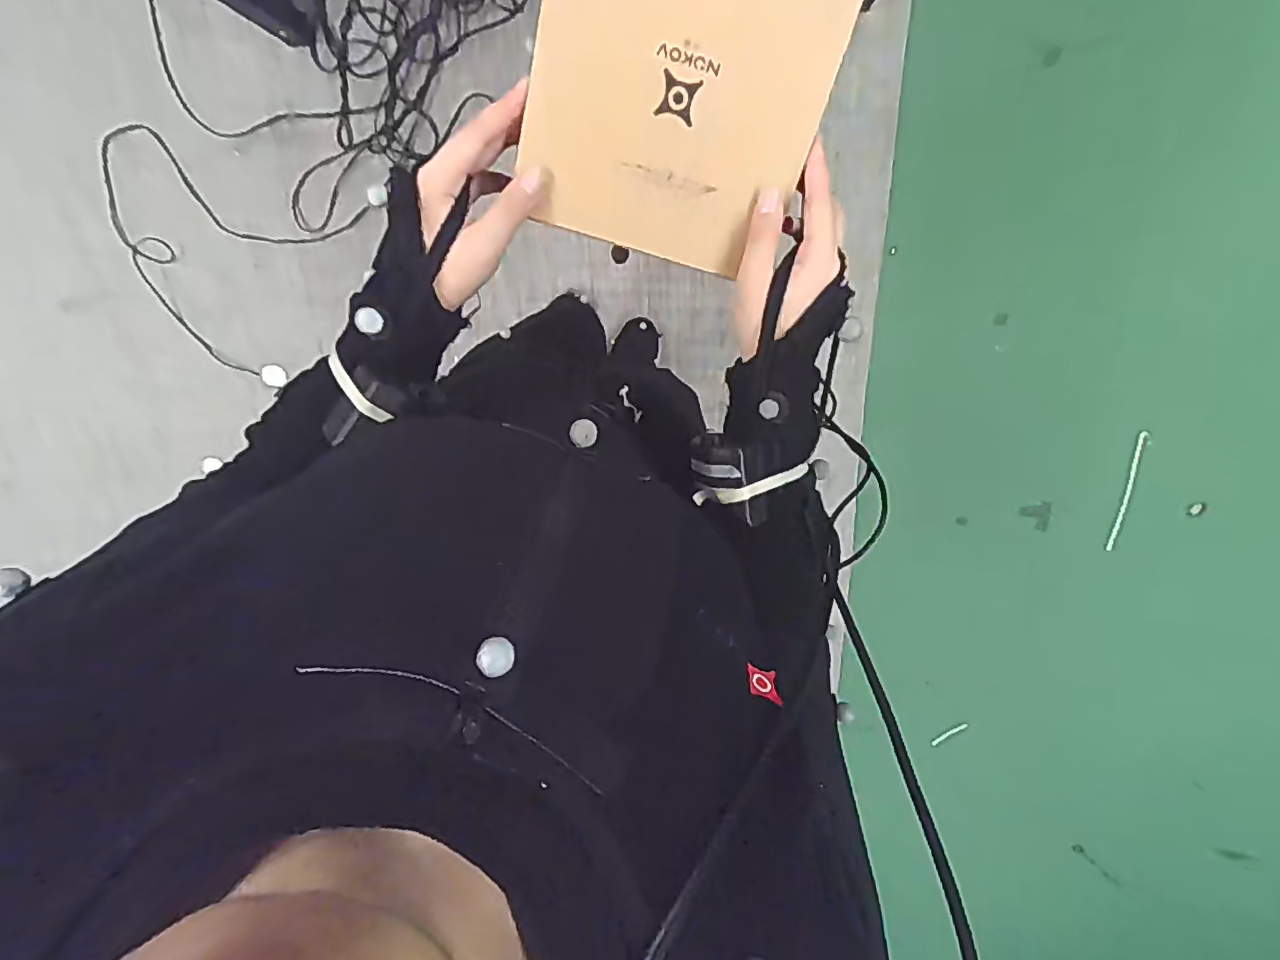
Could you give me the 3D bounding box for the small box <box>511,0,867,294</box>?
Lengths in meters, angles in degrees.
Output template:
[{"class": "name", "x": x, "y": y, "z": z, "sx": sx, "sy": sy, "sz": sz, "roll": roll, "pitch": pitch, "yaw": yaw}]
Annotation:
[{"class": "small box", "x": 0.022, "y": -0.247, "z": 0.371, "sx": 0.168, "sy": 0.176, "sz": 0.179, "roll": 14, "pitch": 115, "yaw": -6}]
